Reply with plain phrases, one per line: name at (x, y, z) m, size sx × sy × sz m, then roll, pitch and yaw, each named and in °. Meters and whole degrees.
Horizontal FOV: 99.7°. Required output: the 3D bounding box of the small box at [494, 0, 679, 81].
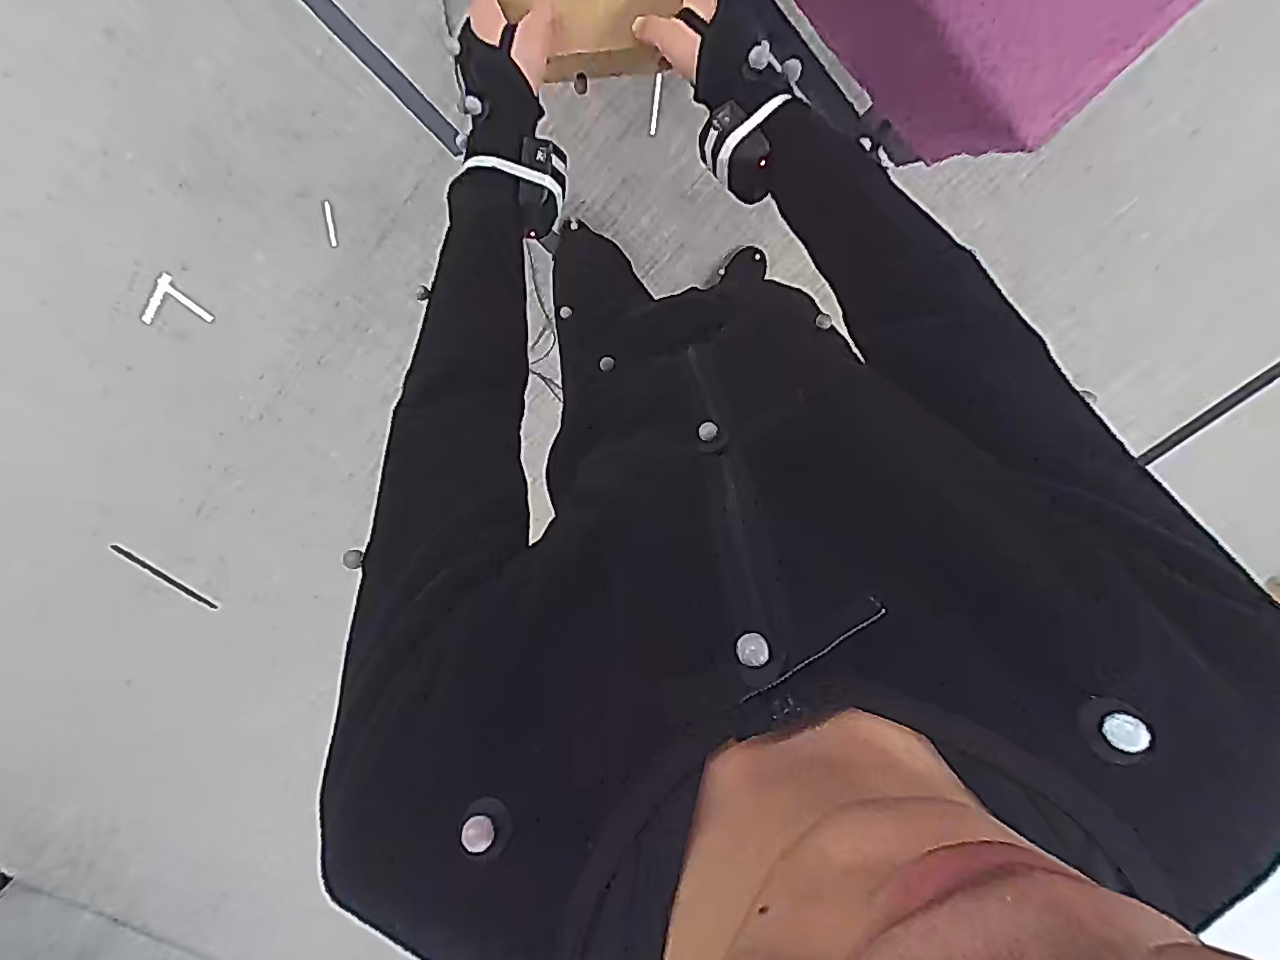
small box at (-0.057, -0.510, 0.519) m, size 0.168 × 0.176 × 0.179 m, roll -6°, pitch 119°, yaw -1°
